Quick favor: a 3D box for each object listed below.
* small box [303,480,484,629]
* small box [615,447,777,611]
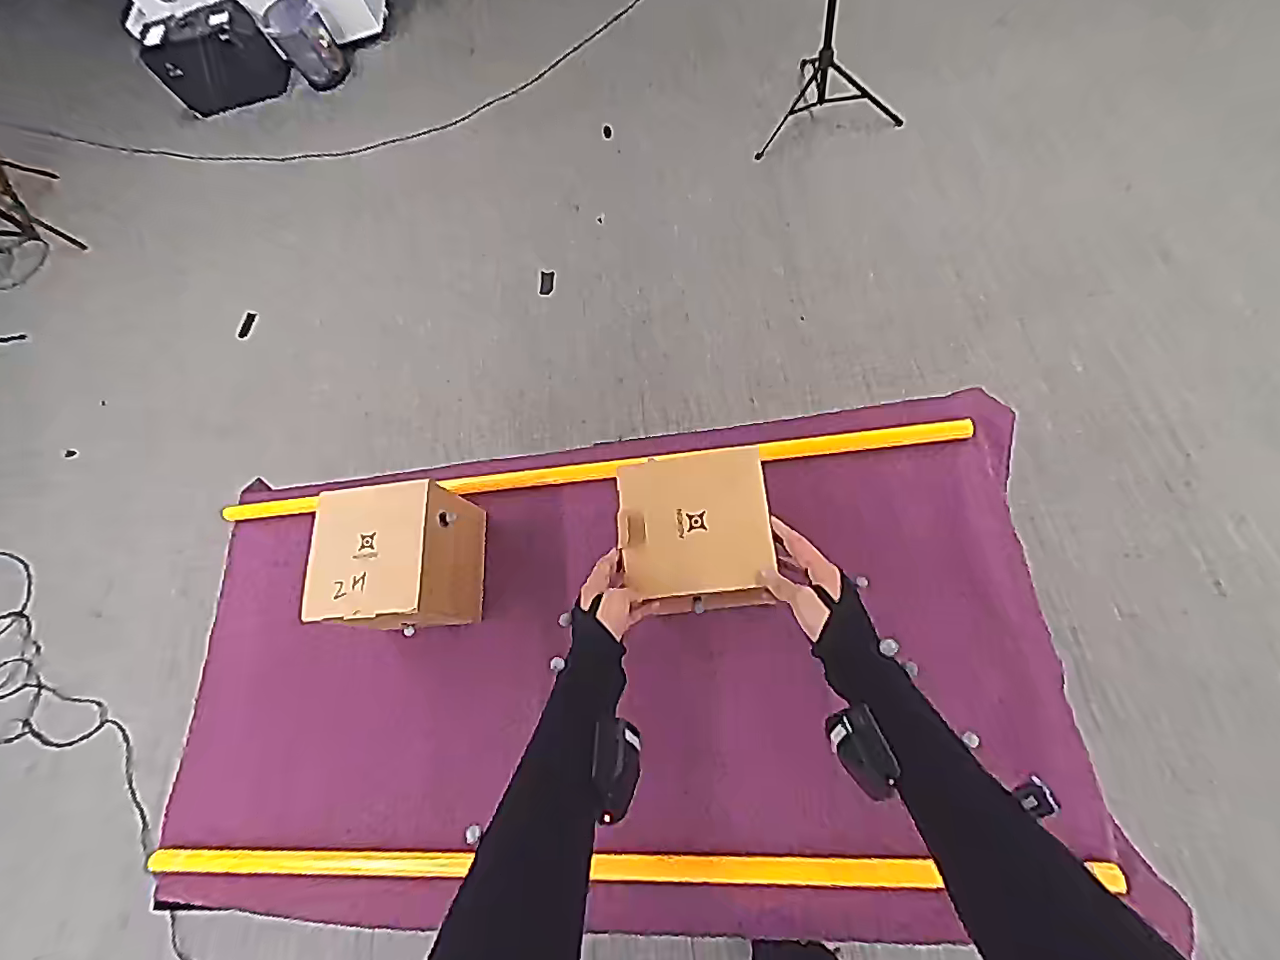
[{"bbox_3d":[-0.338,0.114,0.777,0.168,0.176,0.179,-7,71,10],"label":"small box"},{"bbox_3d":[0.076,0.073,0.697,0.179,0.176,0.168,-9,70,12],"label":"small box"}]
